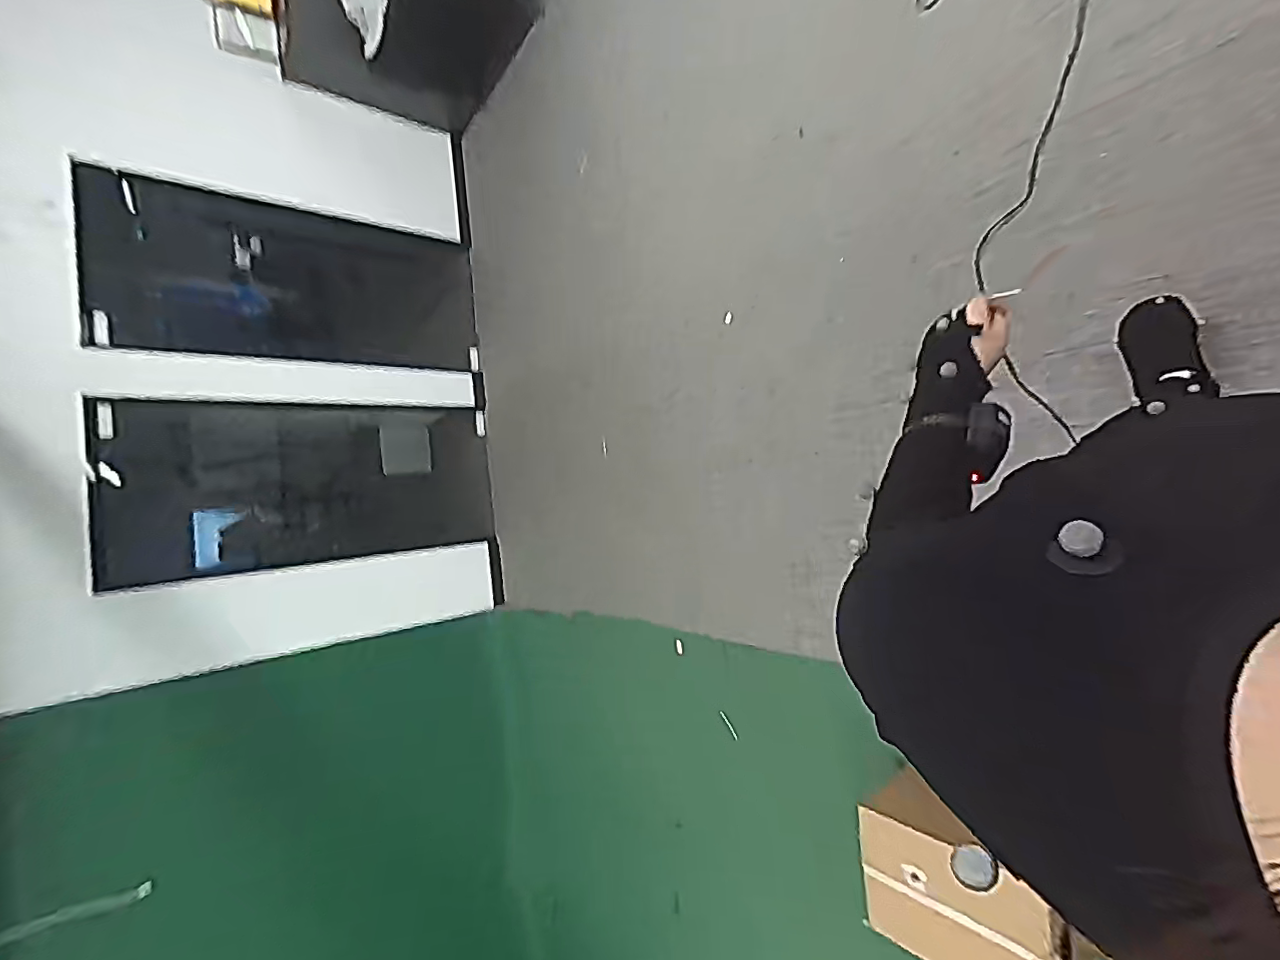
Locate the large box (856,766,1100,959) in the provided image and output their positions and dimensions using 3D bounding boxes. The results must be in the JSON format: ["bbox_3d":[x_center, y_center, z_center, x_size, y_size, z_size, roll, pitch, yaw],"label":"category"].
[{"bbox_3d":[0.800,0.961,1.302,0.408,0.320,0.320,-5,88,53],"label":"large box"}]
